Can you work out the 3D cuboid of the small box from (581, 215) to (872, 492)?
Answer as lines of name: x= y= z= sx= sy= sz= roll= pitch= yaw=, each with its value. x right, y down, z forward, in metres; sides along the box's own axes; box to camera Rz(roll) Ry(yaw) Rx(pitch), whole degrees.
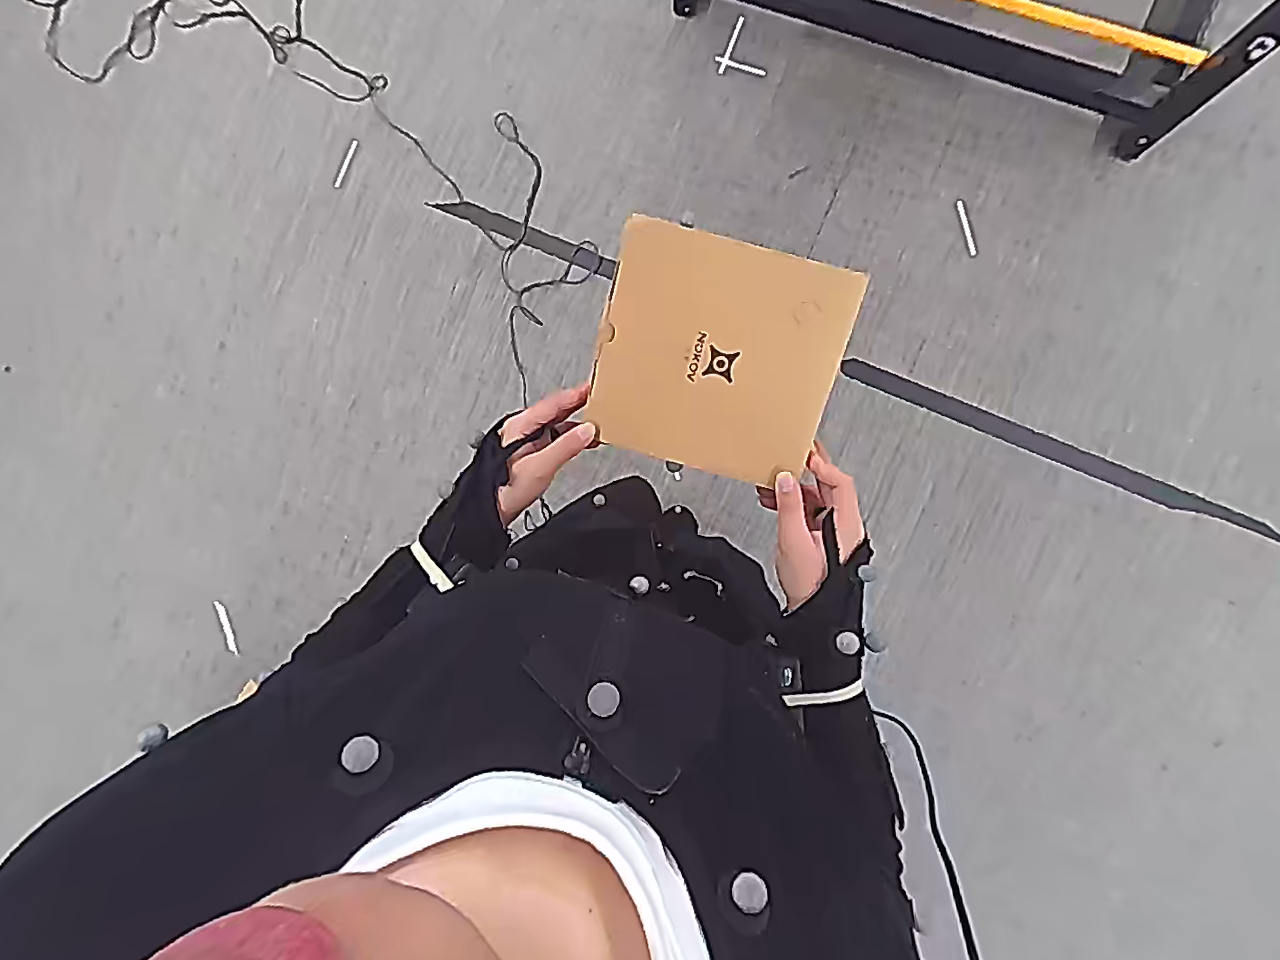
small box: x=0.066 y=-0.108 z=0.469 sx=0.179 sy=0.176 sz=0.168 roll=16 pitch=106 yaw=4
